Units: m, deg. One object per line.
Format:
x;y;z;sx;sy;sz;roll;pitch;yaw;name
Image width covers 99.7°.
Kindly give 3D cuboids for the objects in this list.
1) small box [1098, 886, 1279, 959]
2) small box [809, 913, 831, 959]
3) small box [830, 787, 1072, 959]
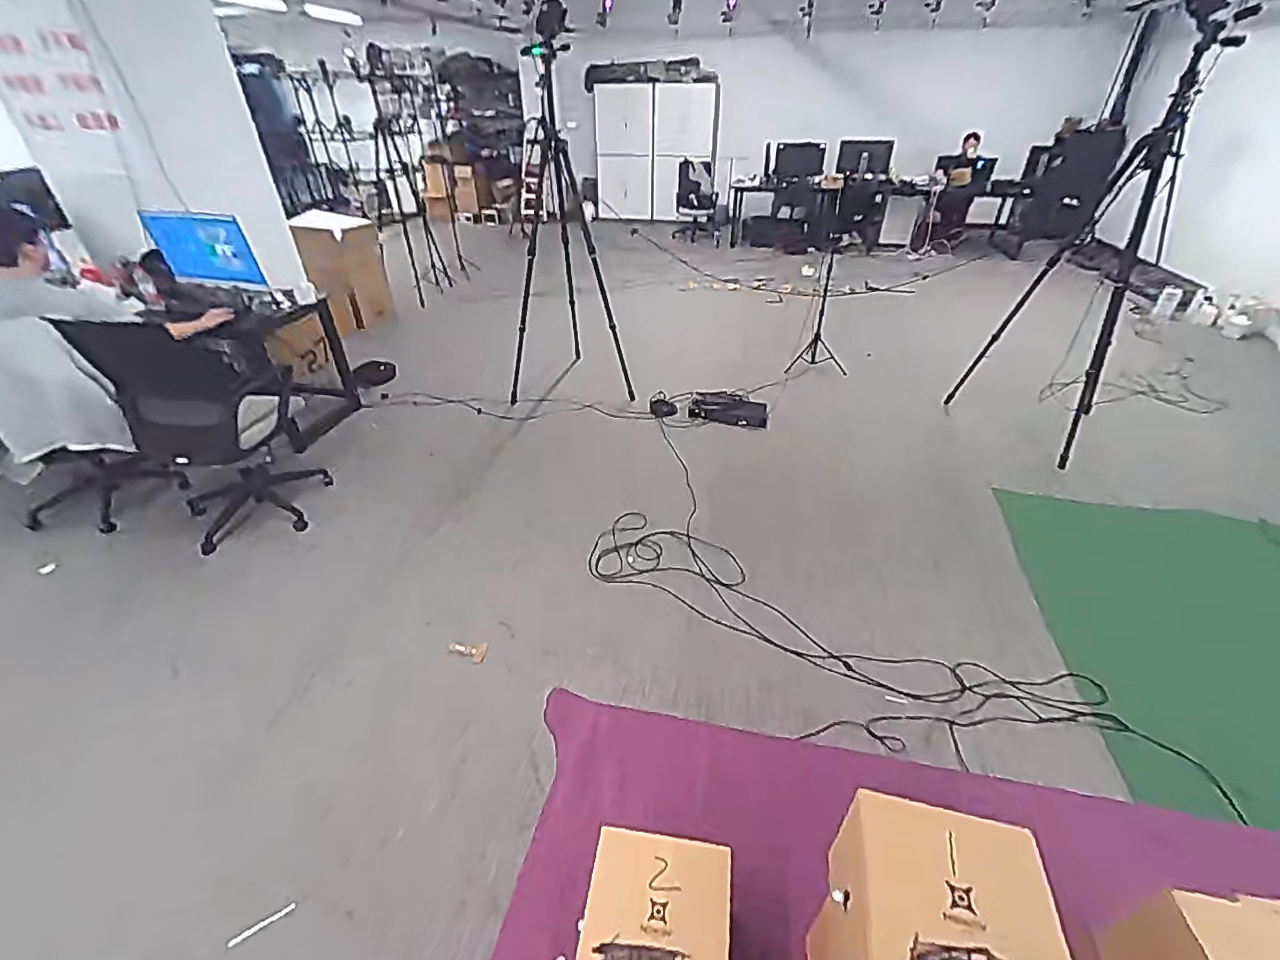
0.547;0.489;0.454;0.168;0.176;0.179;4;34;7;small box
0.287;0.598;0.593;0.168;0.176;0.179;6;36;8;small box
0.286;0.445;0.525;0.168;0.176;0.179;8;35;12;small box
